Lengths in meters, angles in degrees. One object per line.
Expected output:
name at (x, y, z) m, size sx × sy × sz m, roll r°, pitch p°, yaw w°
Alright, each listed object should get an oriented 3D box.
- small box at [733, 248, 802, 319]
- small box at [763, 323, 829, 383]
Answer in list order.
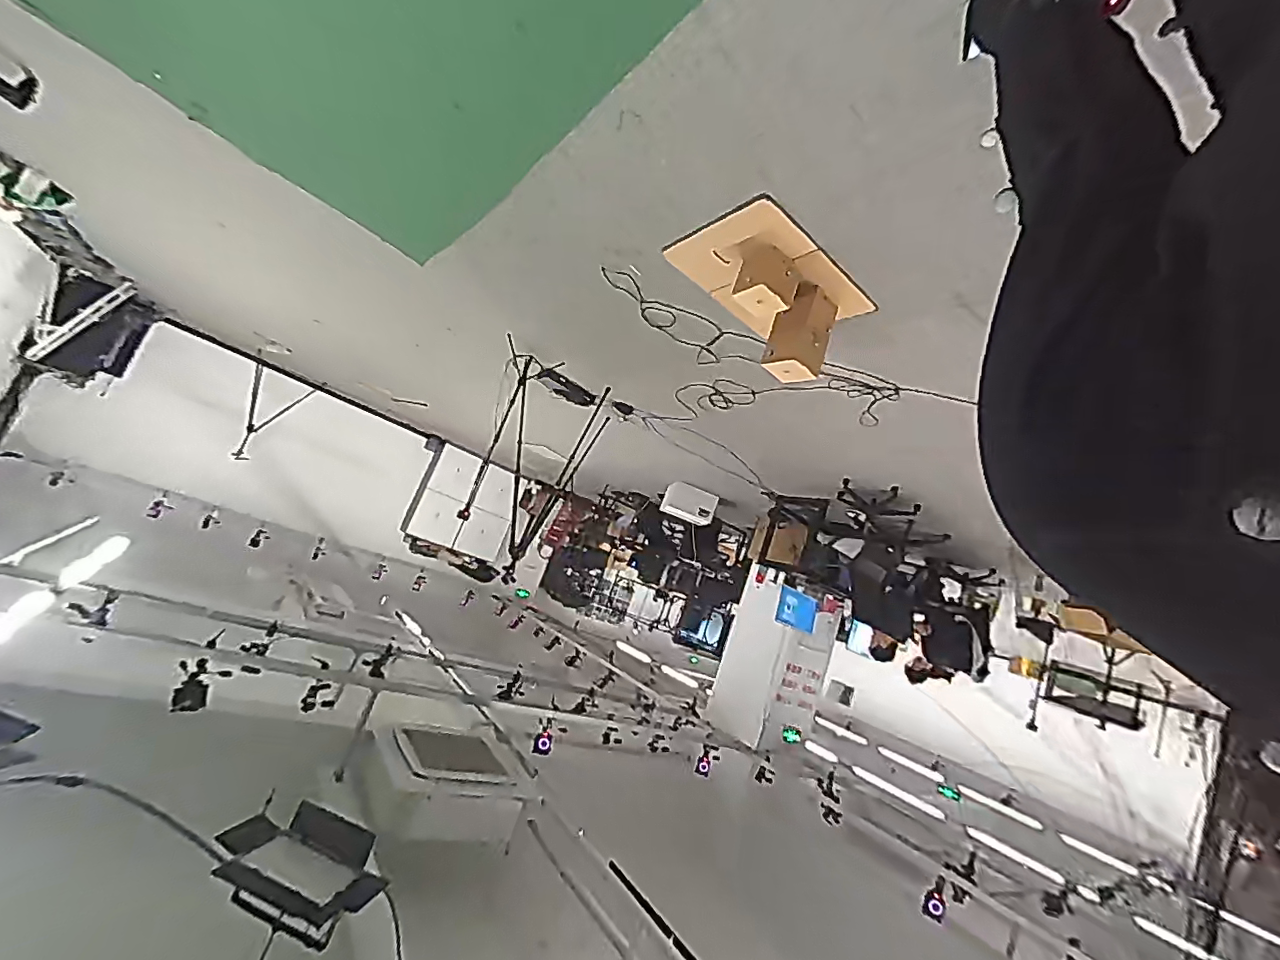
small box at (0.498, -0.761, 2.100) m, size 0.168 × 0.176 × 0.179 m, roll 27°, pitch 166°, yaw -30°
small box at (0.635, -0.512, 2.190) m, size 0.168 × 0.176 × 0.179 m, roll 26°, pitch 167°, yaw -35°
